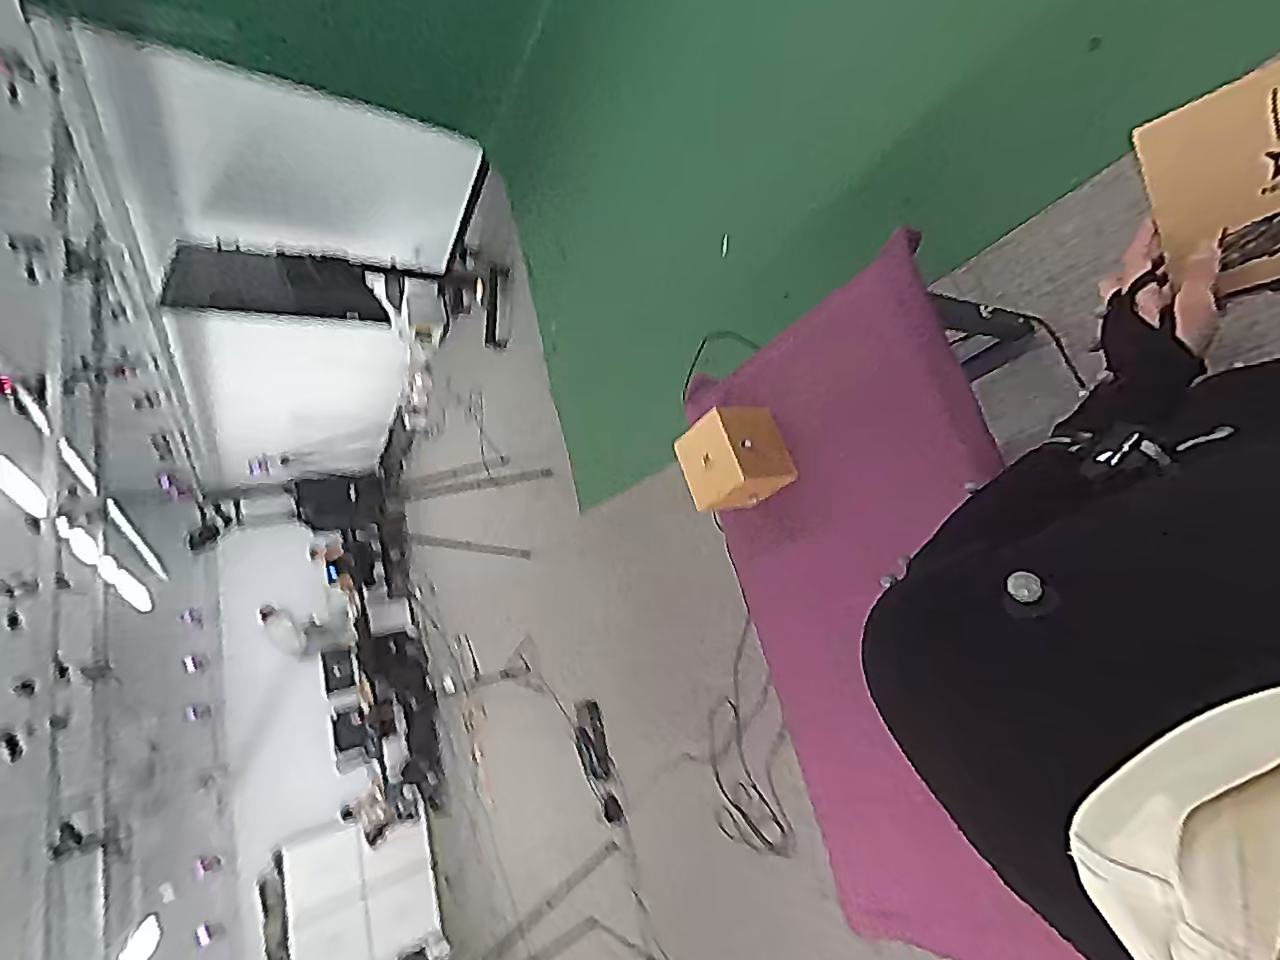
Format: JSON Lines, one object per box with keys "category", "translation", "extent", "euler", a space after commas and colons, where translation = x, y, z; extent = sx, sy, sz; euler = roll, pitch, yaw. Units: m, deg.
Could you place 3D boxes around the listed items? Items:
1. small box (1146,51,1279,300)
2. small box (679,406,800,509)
{"category": "small box", "translation": [0.592, -0.278, 0.490], "extent": [0.168, 0.176, 0.179], "euler": [-13, 91, 47]}
{"category": "small box", "translation": [0.224, -0.052, 1.220], "extent": [0.168, 0.176, 0.179], "euler": [-43, 61, 49]}
